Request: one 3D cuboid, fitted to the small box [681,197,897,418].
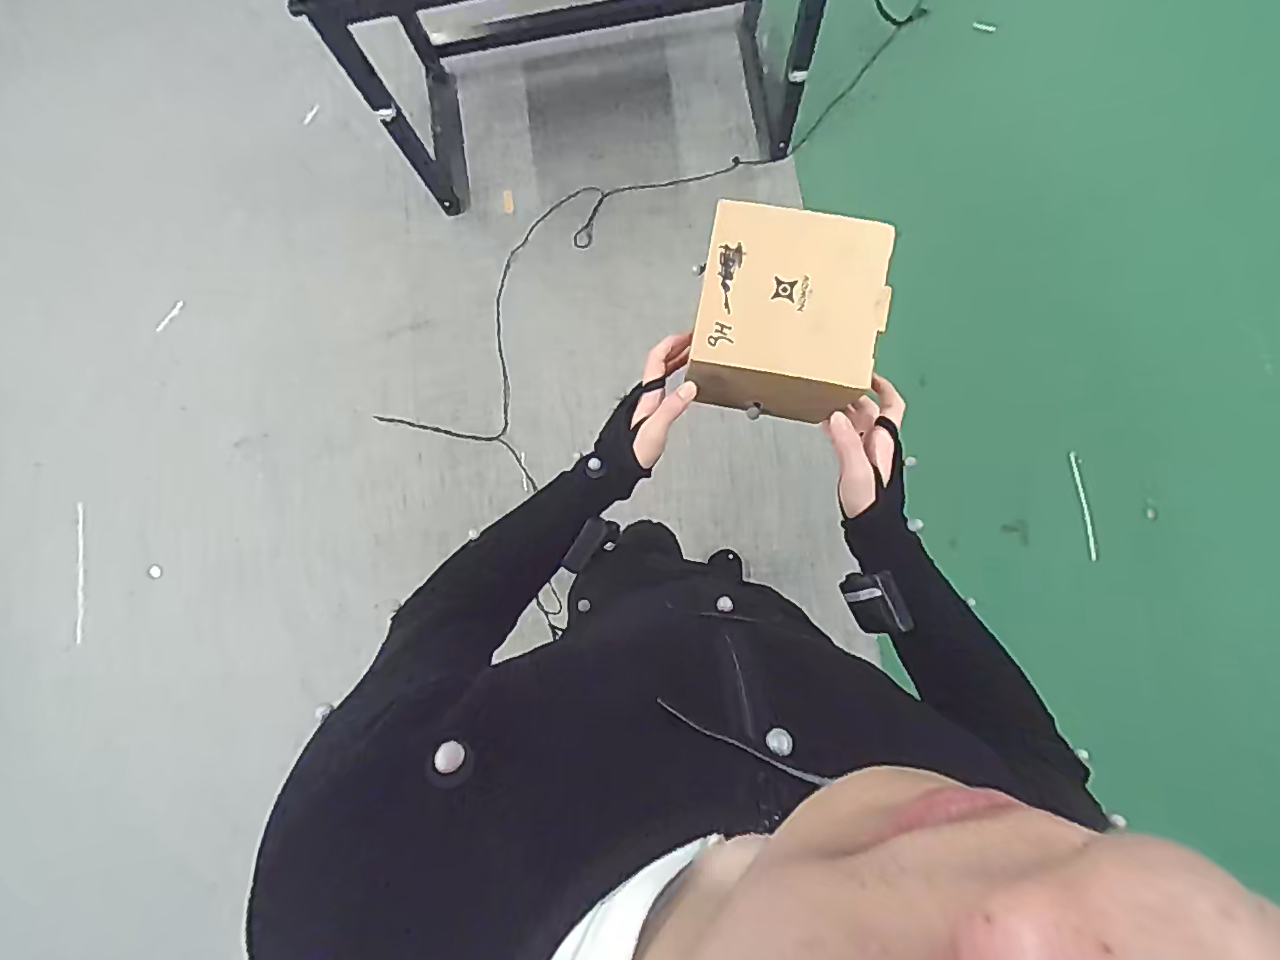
[{"bbox_3d":[0.149,-0.173,0.595,0.179,0.176,0.168,11,84,2],"label":"small box"}]
